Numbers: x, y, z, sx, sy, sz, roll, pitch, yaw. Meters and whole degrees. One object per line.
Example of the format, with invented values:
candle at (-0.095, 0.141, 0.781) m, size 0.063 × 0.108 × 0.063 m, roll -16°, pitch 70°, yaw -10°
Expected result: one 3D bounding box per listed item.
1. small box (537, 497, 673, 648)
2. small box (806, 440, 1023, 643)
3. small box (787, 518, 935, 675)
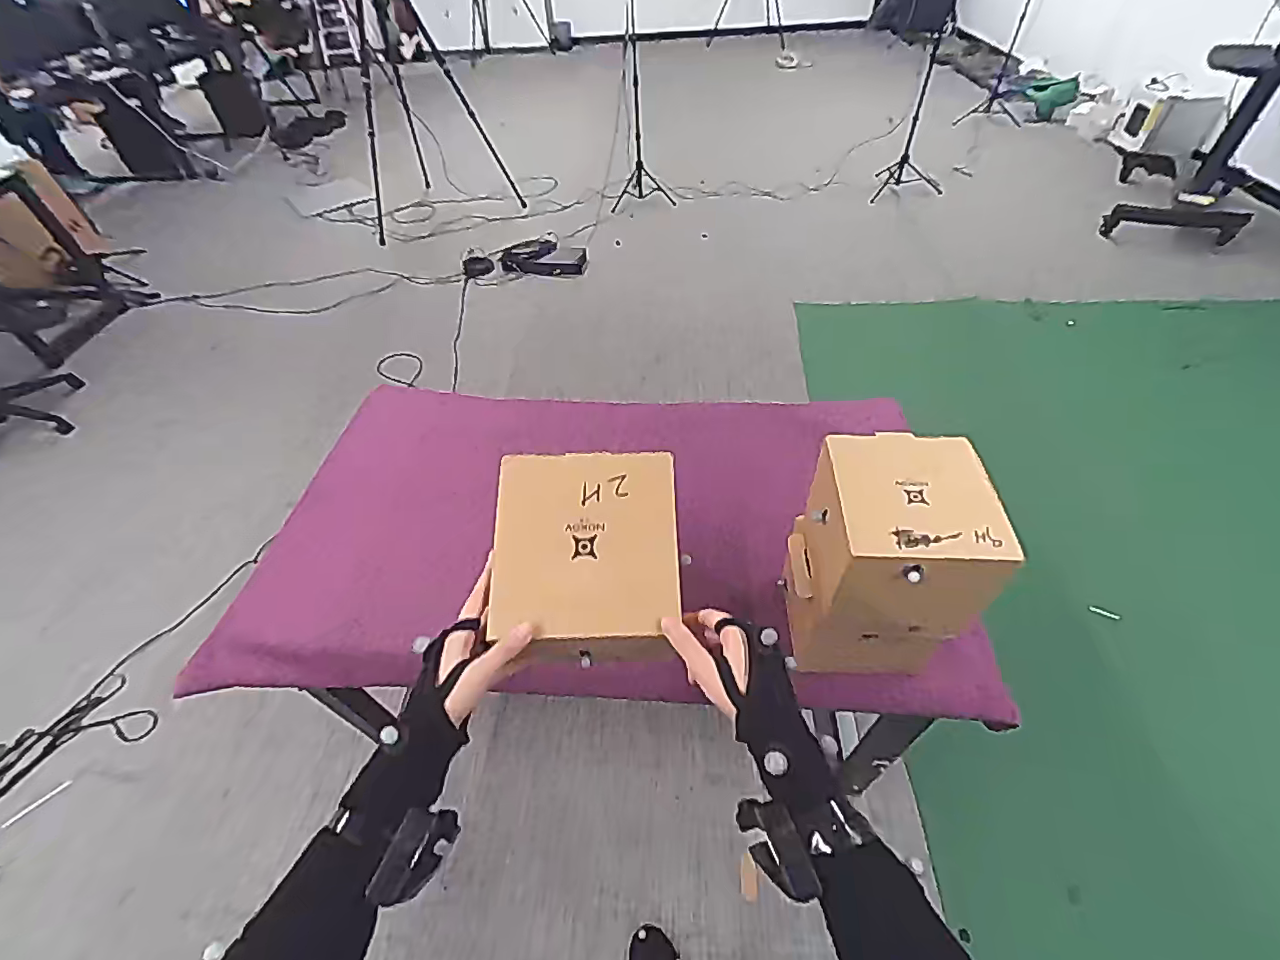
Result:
small box at (-0.042, 0.143, 0.828) m, size 0.179 × 0.176 × 0.168 m, roll 2°, pitch 47°, yaw 5°
small box at (0.302, 0.071, 0.645) m, size 0.168 × 0.176 × 0.179 m, roll 0°, pitch 47°, yaw 6°
small box at (0.314, 0.168, 0.777) m, size 0.179 × 0.176 × 0.168 m, roll -1°, pitch 48°, yaw 3°
